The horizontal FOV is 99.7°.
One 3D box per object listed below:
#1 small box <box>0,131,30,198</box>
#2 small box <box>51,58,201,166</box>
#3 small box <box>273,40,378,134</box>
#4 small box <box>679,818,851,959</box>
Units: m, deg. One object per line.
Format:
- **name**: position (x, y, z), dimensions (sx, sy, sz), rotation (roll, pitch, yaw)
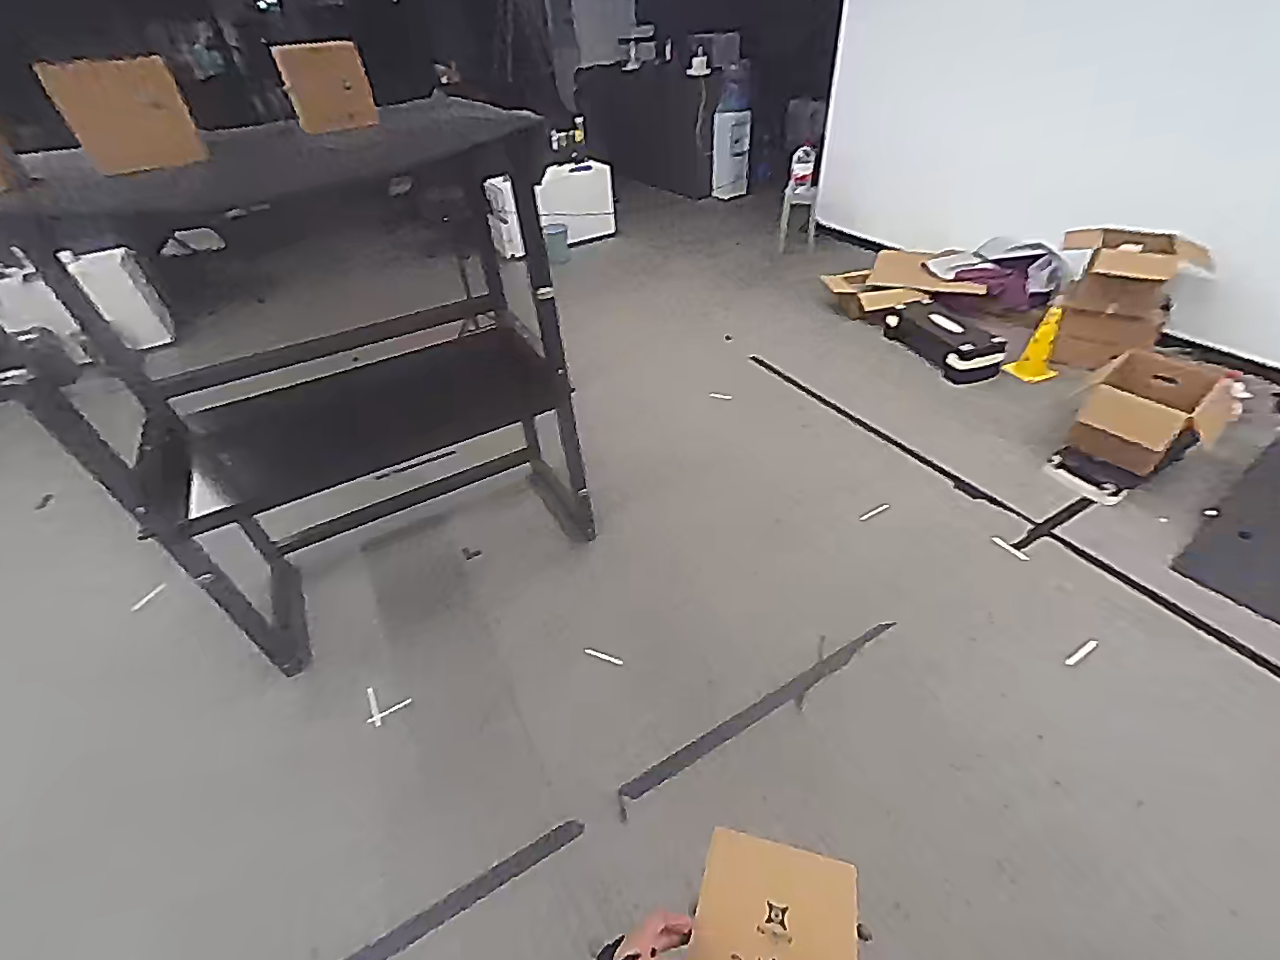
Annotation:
- **small box**: position (-1.237, -0.587, 0.941), dimensions (0.168, 0.176, 0.179), rotation (-25, 44, -22)
- **small box**: position (-1.116, -0.815, 1.195), dimensions (0.179, 0.176, 0.168), rotation (-23, 45, -19)
- **small box**: position (-0.769, -0.965, 1.329), dimensions (0.168, 0.176, 0.179), rotation (-24, 45, -22)
- **small box**: position (0.142, 0.536, 0.608), dimensions (0.168, 0.176, 0.179), rotation (4, 26, 19)
